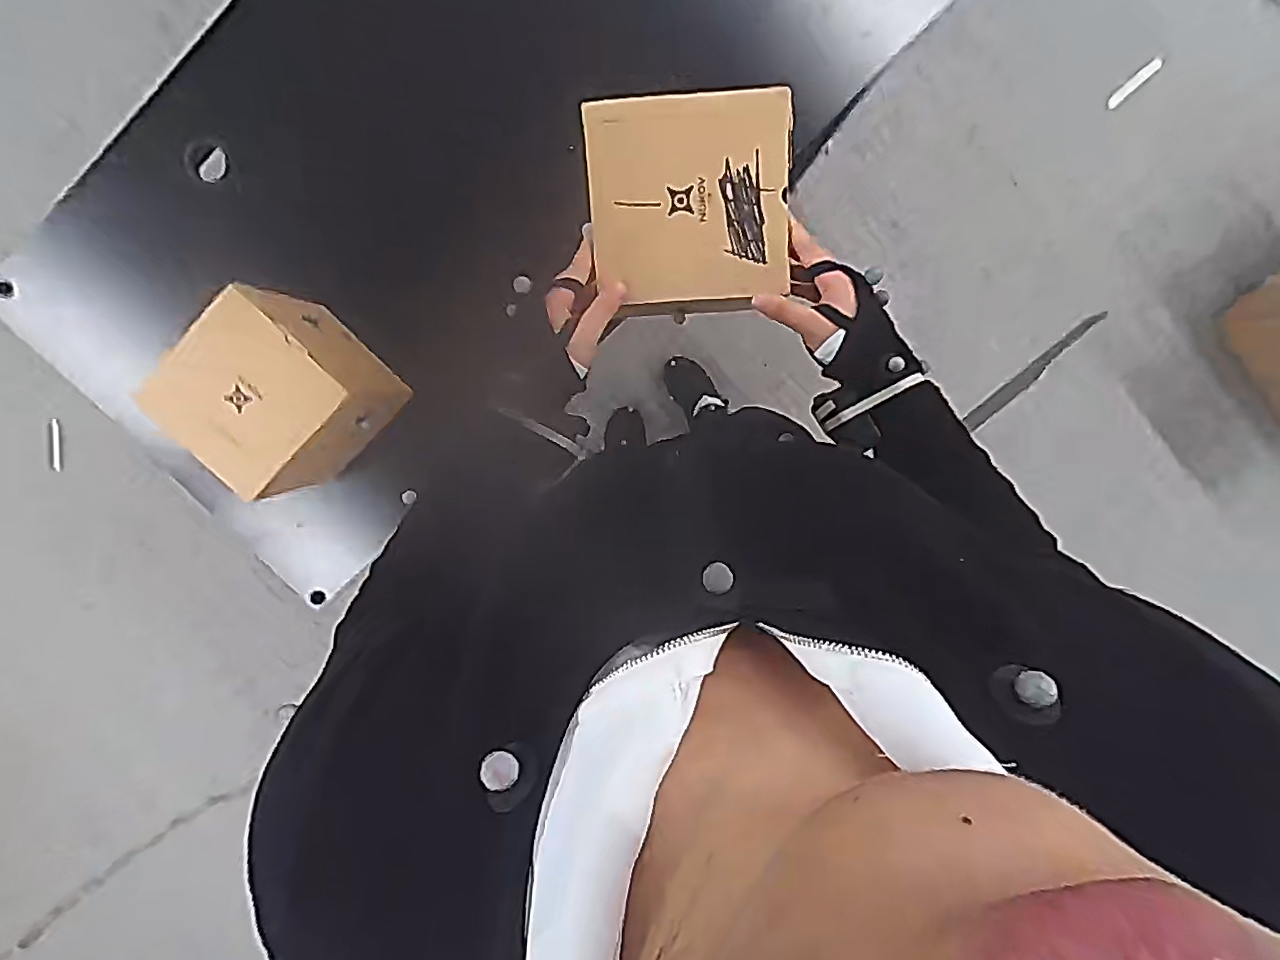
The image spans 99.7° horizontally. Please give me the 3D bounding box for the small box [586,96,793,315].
[{"bbox_3d":[0.043,-0.258,0.547,0.179,0.176,0.168,-2,103,1],"label":"small box"}]

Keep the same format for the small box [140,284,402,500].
[{"bbox_3d":[-0.425,-0.105,0.663,0.168,0.176,0.179,44,97,-5],"label":"small box"}]
